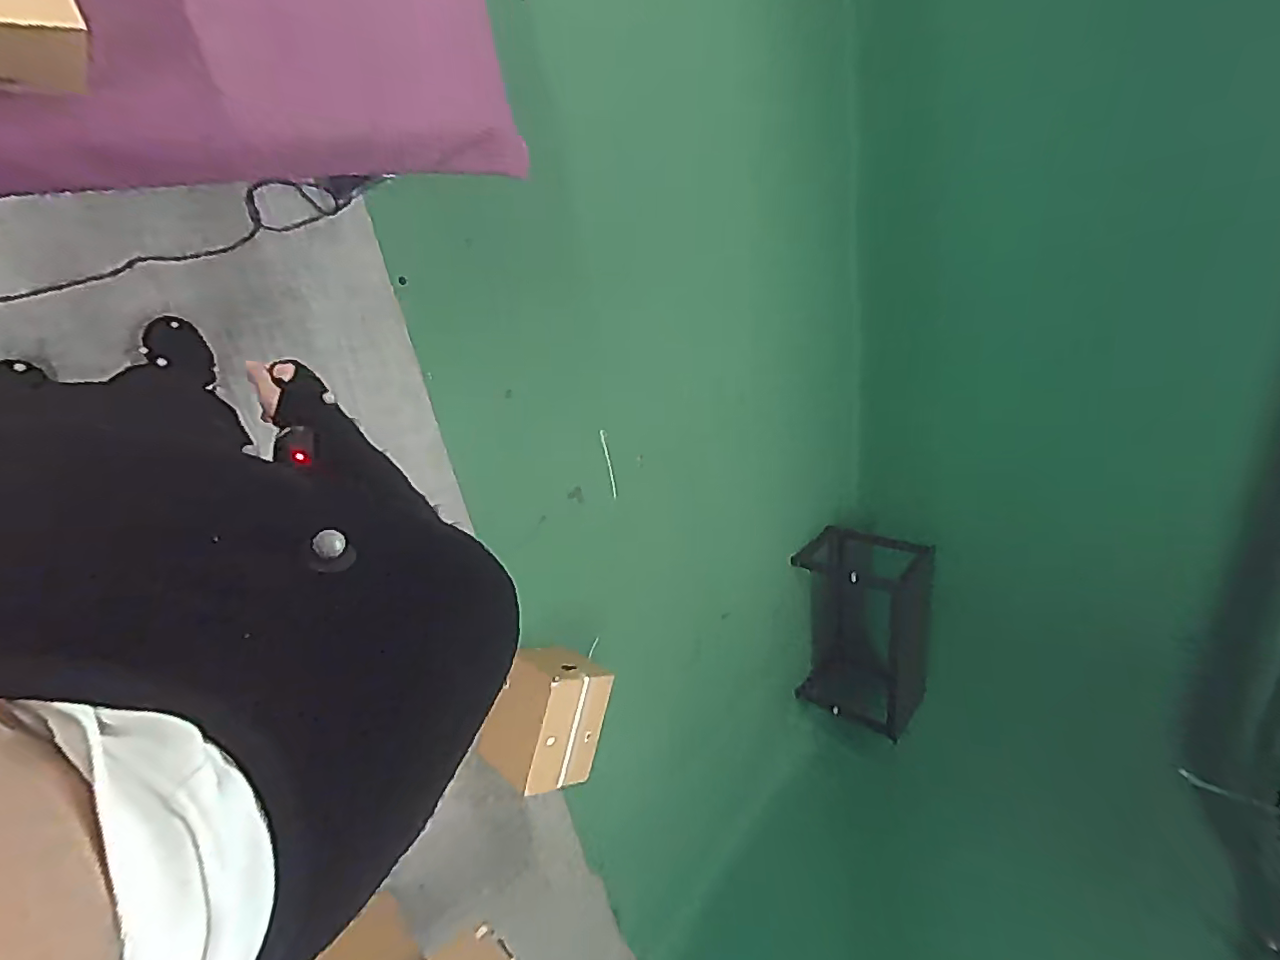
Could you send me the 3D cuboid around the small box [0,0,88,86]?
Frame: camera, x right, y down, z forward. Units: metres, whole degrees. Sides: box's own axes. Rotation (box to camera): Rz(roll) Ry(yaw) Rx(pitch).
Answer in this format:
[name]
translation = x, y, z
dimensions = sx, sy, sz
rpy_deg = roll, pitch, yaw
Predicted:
[small box]
translation = -0.632, -0.475, 0.465
dimensions = 0.168, 0.176, 0.179
rpy_deg = -31, 120, -38
